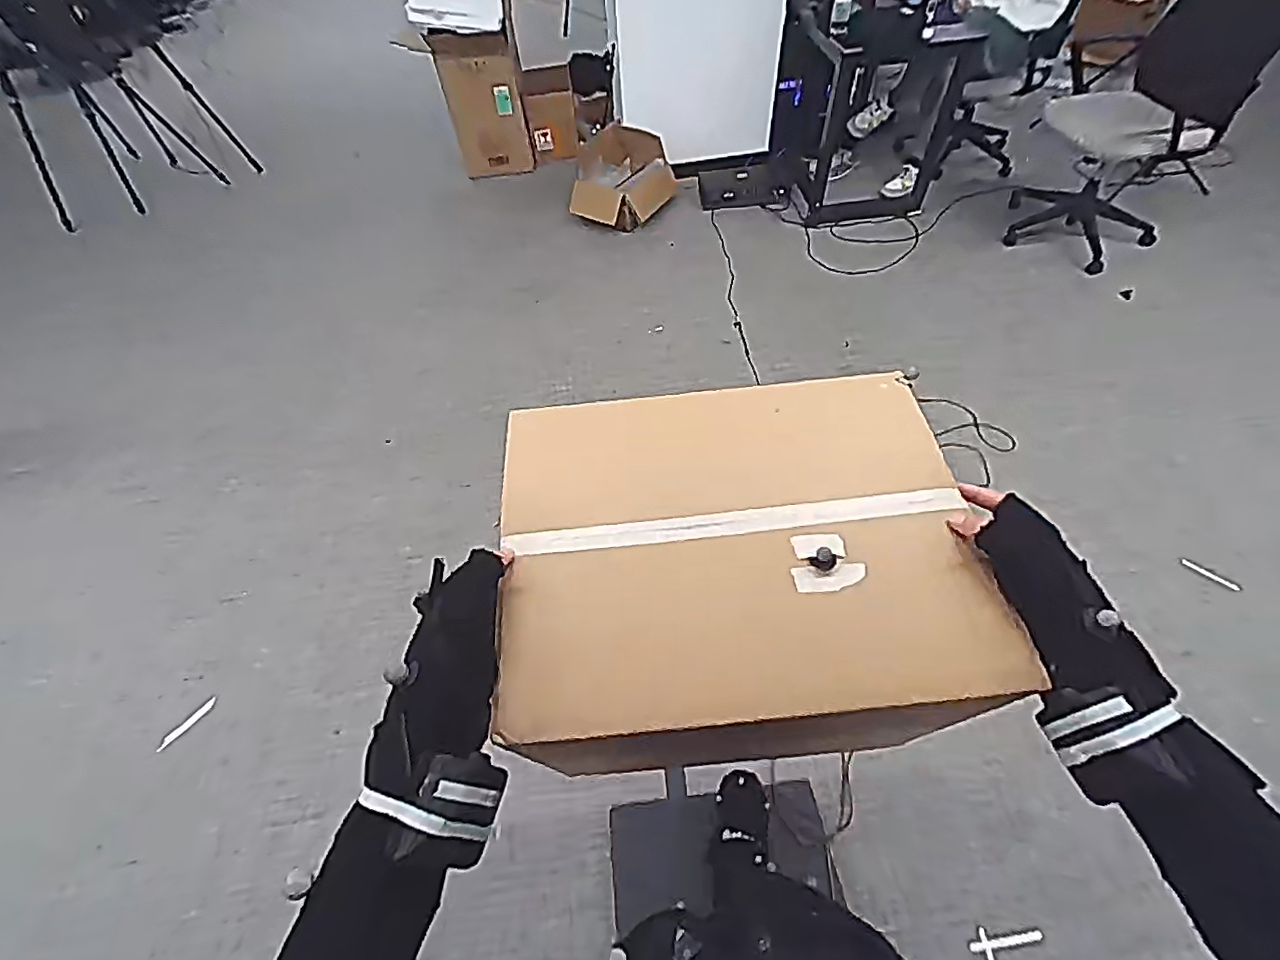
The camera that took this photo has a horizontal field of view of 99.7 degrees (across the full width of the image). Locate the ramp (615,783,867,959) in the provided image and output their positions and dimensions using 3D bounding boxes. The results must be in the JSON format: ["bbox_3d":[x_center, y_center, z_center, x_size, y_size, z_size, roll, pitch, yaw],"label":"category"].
[{"bbox_3d":[0.229,1.110,0.952,0.509,0.206,0.991,-10,53,-1],"label":"ramp"}]

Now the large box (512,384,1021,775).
[{"bbox_3d":[0.090,0.127,0.616,0.408,0.320,0.320,-6,57,0],"label":"large box"}]
